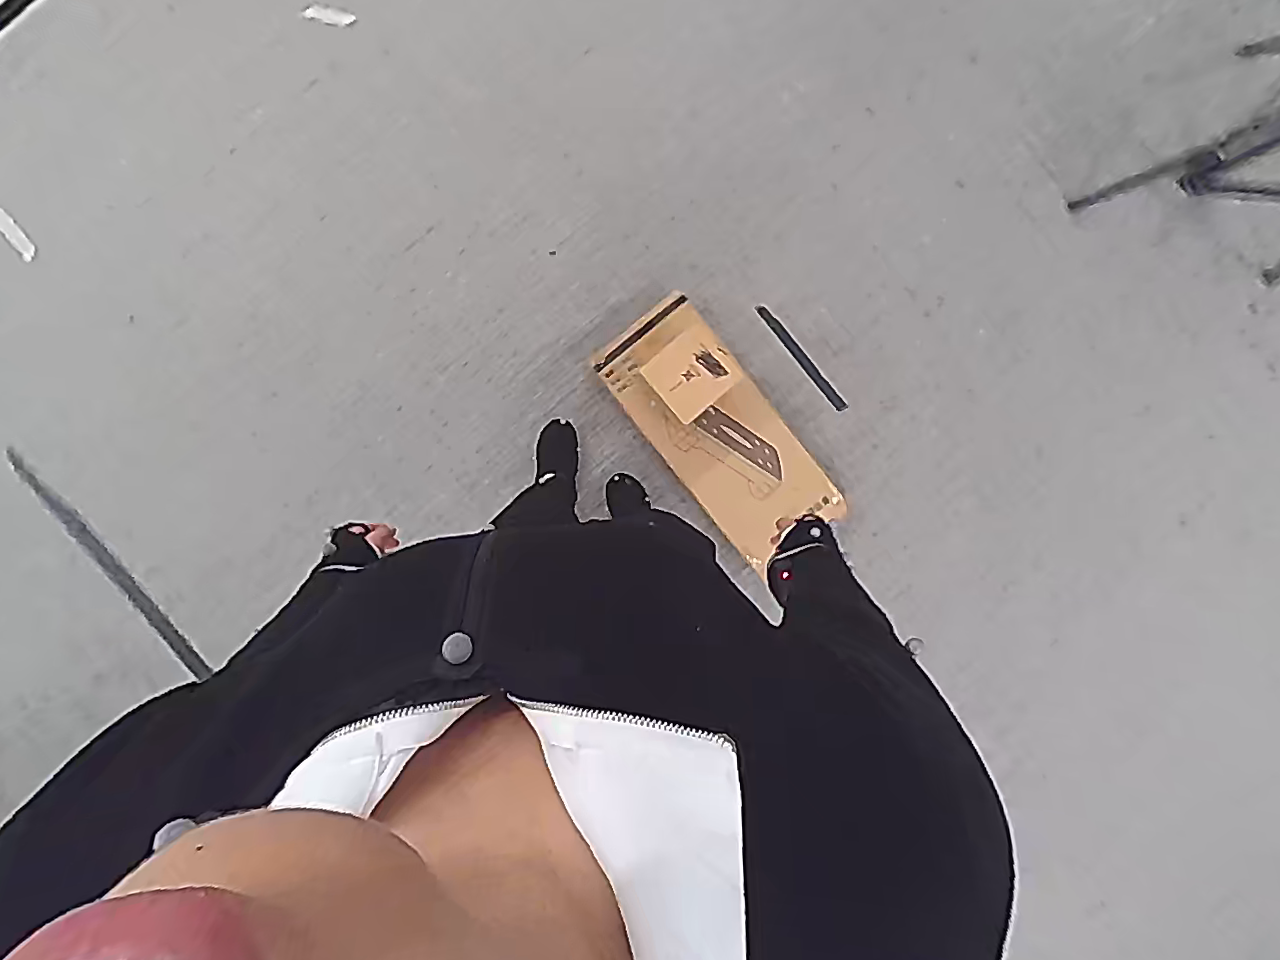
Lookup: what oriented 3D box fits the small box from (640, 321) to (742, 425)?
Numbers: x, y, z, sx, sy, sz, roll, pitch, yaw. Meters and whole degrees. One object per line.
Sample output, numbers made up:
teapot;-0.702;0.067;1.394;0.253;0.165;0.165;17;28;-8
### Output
small box;0.112;-0.247;1.290;0.179;0.176;0.168;-40;94;2
